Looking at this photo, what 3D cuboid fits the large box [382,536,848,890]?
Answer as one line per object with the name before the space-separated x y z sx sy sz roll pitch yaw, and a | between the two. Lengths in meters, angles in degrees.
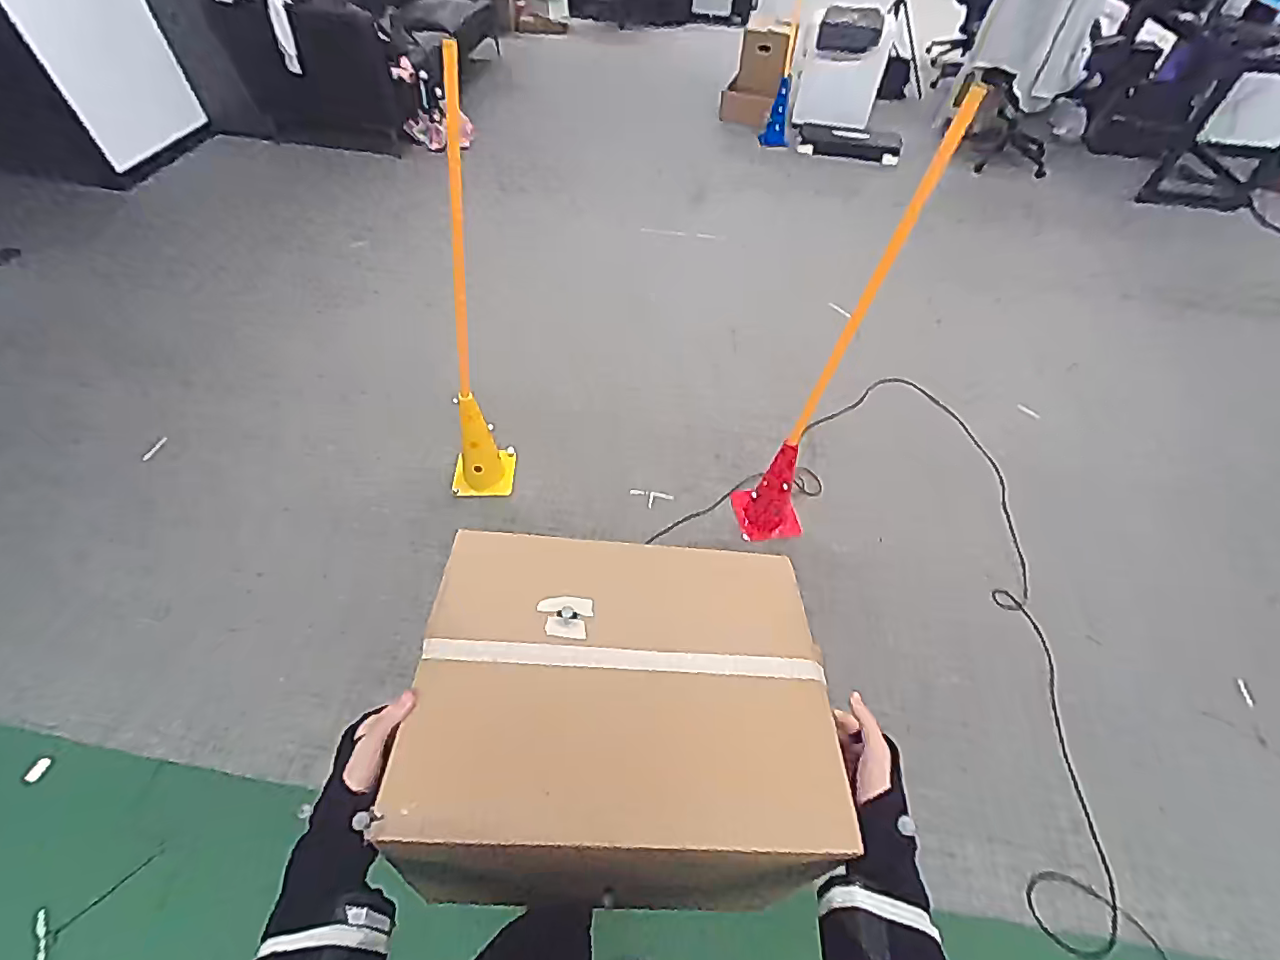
large box | -0.029 0.292 0.663 0.408 0.320 0.320 5 44 -5
